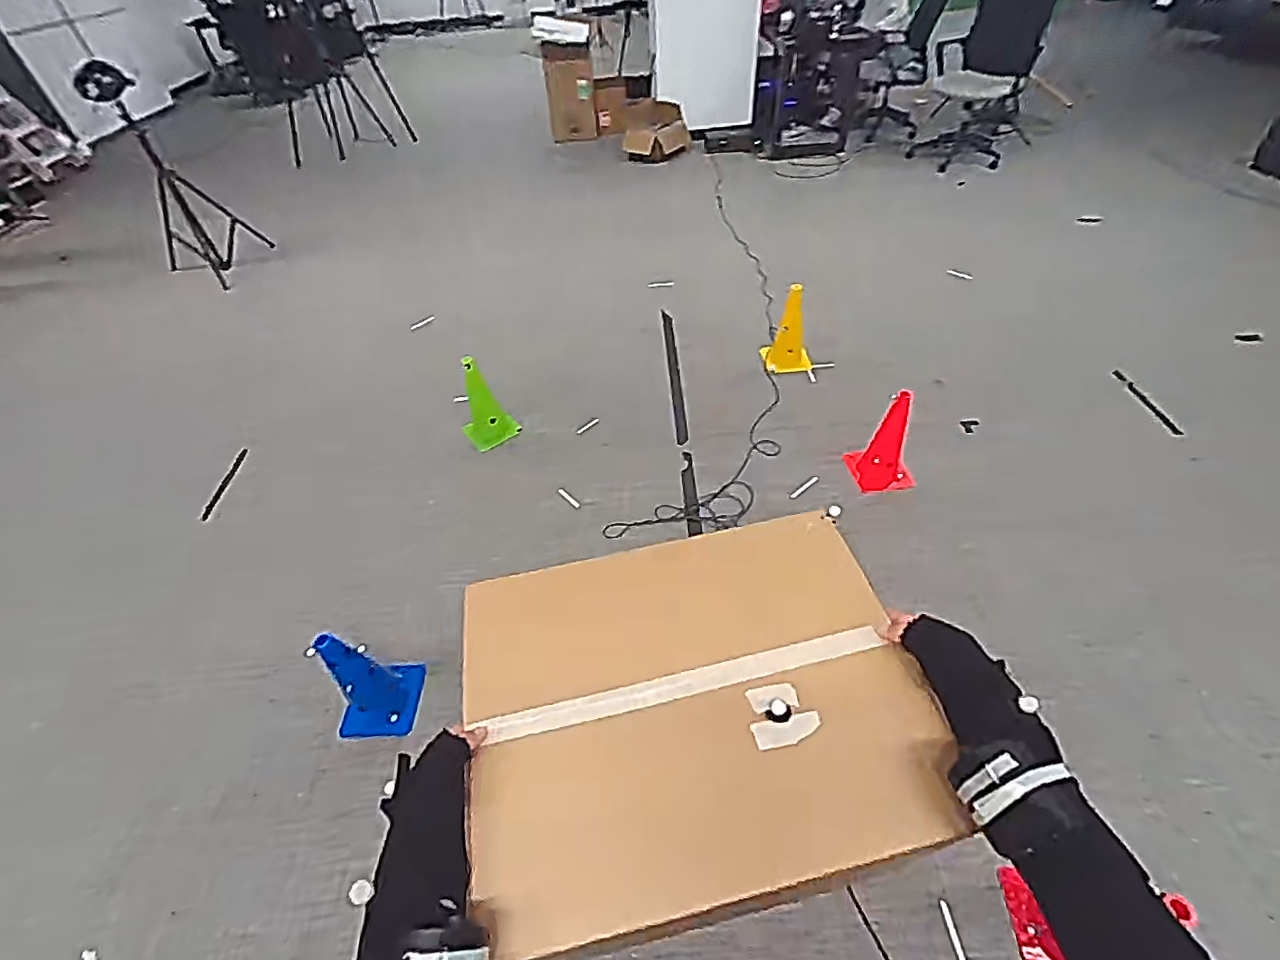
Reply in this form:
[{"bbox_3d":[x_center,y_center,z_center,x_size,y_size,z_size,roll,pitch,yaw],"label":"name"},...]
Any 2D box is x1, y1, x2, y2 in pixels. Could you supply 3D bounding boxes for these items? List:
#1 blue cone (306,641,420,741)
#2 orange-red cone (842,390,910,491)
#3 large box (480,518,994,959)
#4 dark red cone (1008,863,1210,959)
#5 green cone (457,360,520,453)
[{"bbox_3d":[-0.738,0.517,1.398,0.192,0.380,0.193,-3,47,4],"label":"blue cone"},{"bbox_3d":[0.854,-0.156,1.863,0.198,0.360,0.199,-6,45,-2],"label":"orange-red cone"},{"bbox_3d":[0.061,0.290,0.606,0.408,0.320,0.320,-11,48,-6],"label":"large box"},{"bbox_3d":[0.852,0.776,0.956,0.201,0.394,0.202,-1,47,5],"label":"dark red cone"},{"bbox_3d":[-0.647,-0.322,2.152,0.202,0.368,0.200,-35,53,-23],"label":"green cone"}]
